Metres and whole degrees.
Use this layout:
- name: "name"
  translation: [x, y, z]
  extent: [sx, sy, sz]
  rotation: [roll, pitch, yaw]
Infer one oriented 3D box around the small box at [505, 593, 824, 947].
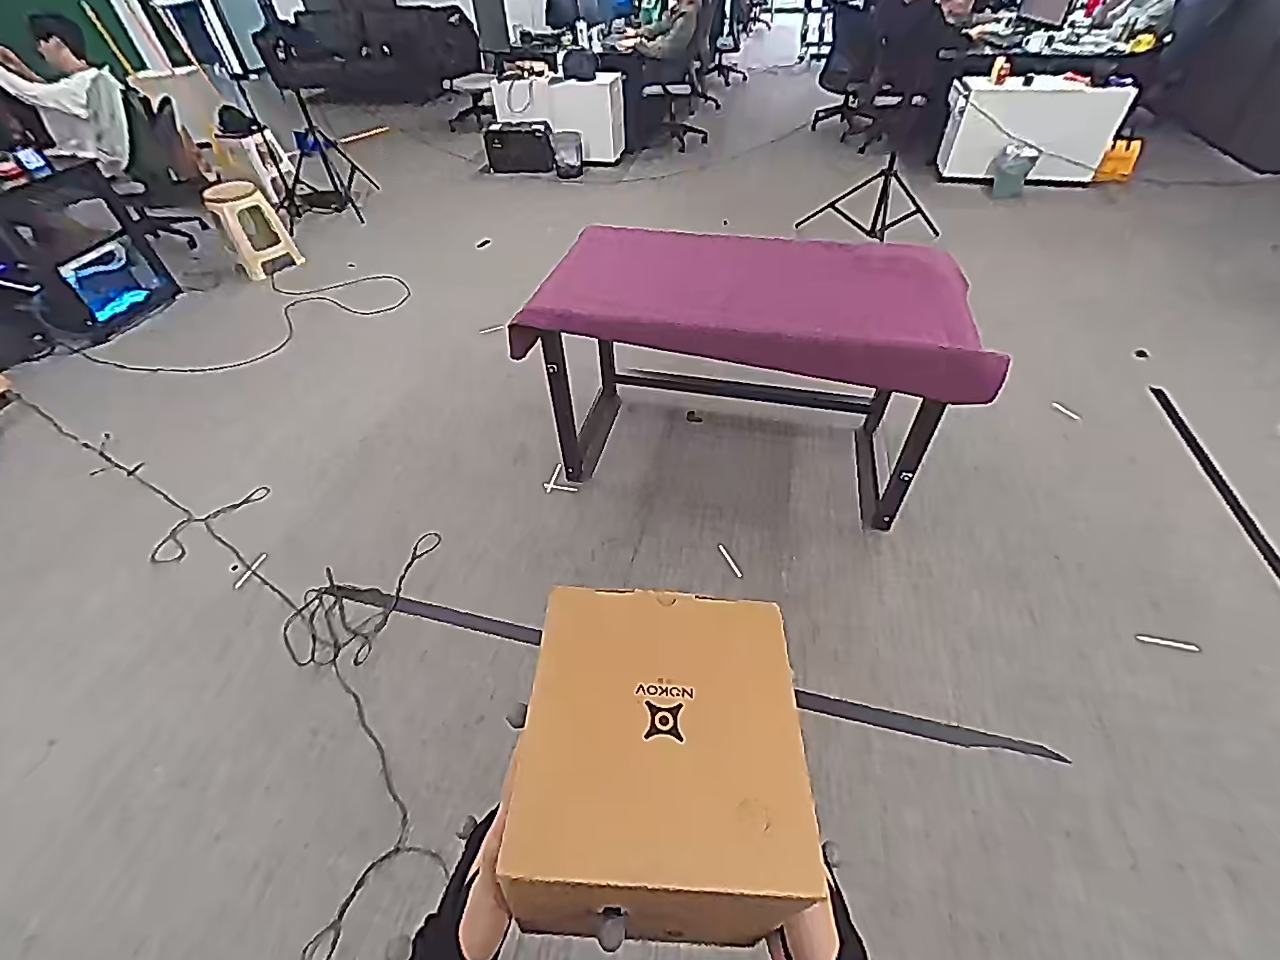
- name: "small box"
  translation: [0.011, 0.205, 0.384]
  extent: [0.168, 0.176, 0.179]
  rotation: [5, 41, -2]
